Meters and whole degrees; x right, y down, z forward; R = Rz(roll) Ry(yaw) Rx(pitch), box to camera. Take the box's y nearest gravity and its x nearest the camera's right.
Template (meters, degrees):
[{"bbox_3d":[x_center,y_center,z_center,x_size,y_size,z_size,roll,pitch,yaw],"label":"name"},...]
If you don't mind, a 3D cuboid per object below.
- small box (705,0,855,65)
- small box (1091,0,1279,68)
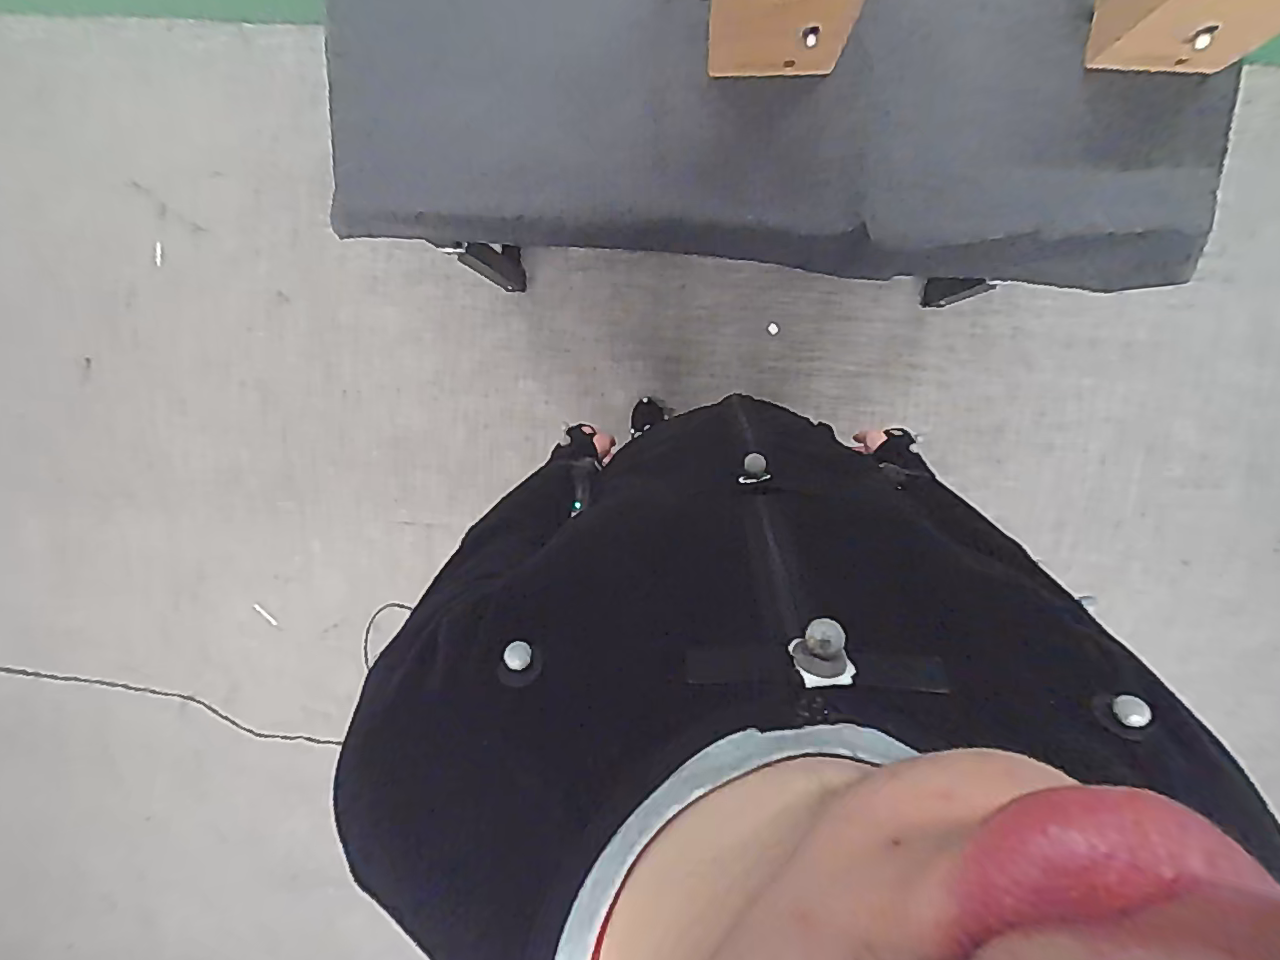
[{"bbox_3d":[0.166,-0.619,0.623,0.168,0.176,0.179,2,98,2],"label":"small box"},{"bbox_3d":[0.652,-0.595,0.595,0.168,0.176,0.179,5,99,3],"label":"small box"}]
